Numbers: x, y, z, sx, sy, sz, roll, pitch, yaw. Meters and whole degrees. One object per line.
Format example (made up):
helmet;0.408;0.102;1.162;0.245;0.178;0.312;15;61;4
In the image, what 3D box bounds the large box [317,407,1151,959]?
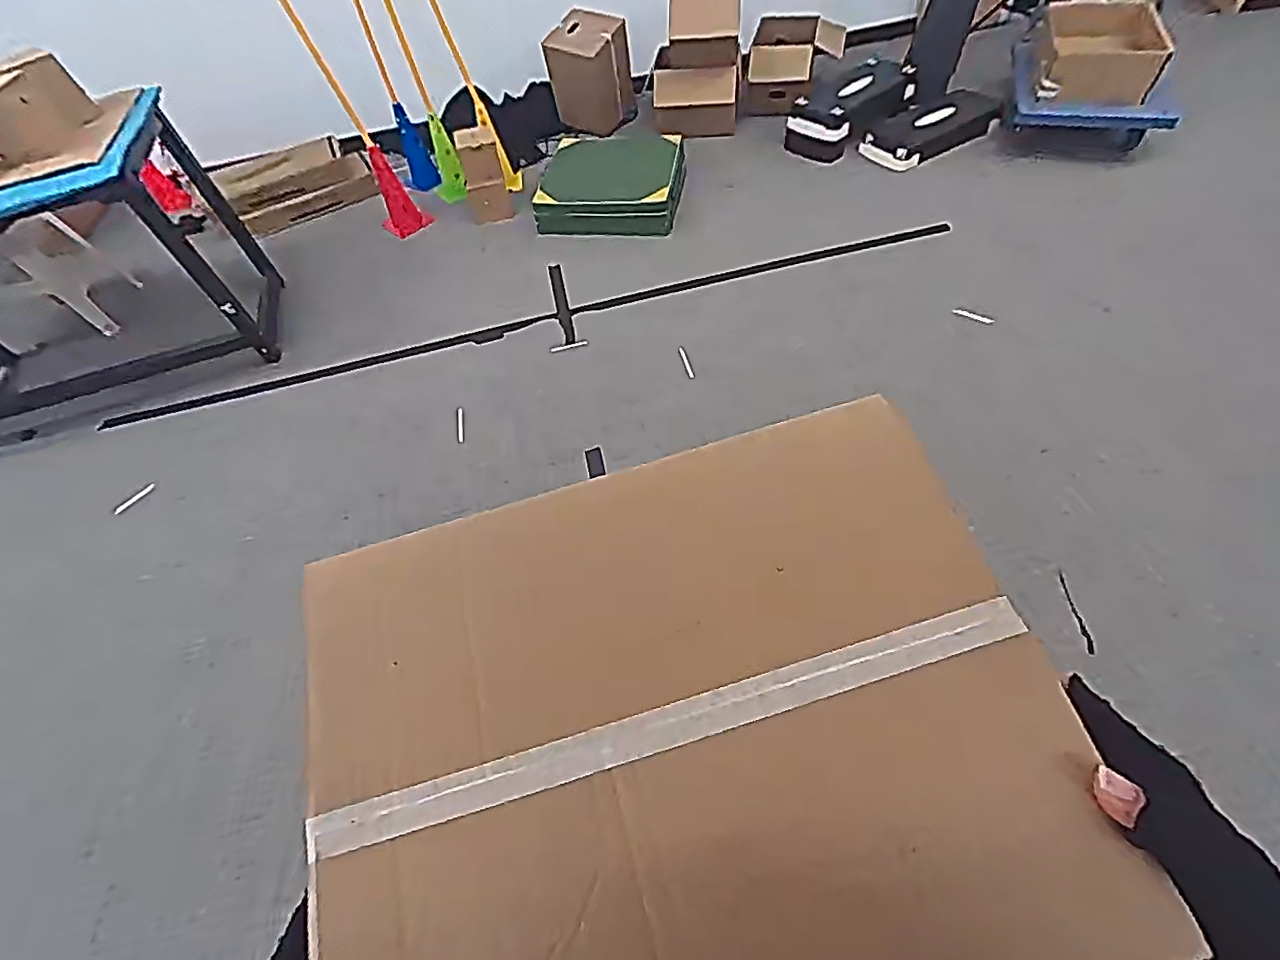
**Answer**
large box;0.030;0.198;0.445;0.408;0.320;0.320;-18;65;-2
